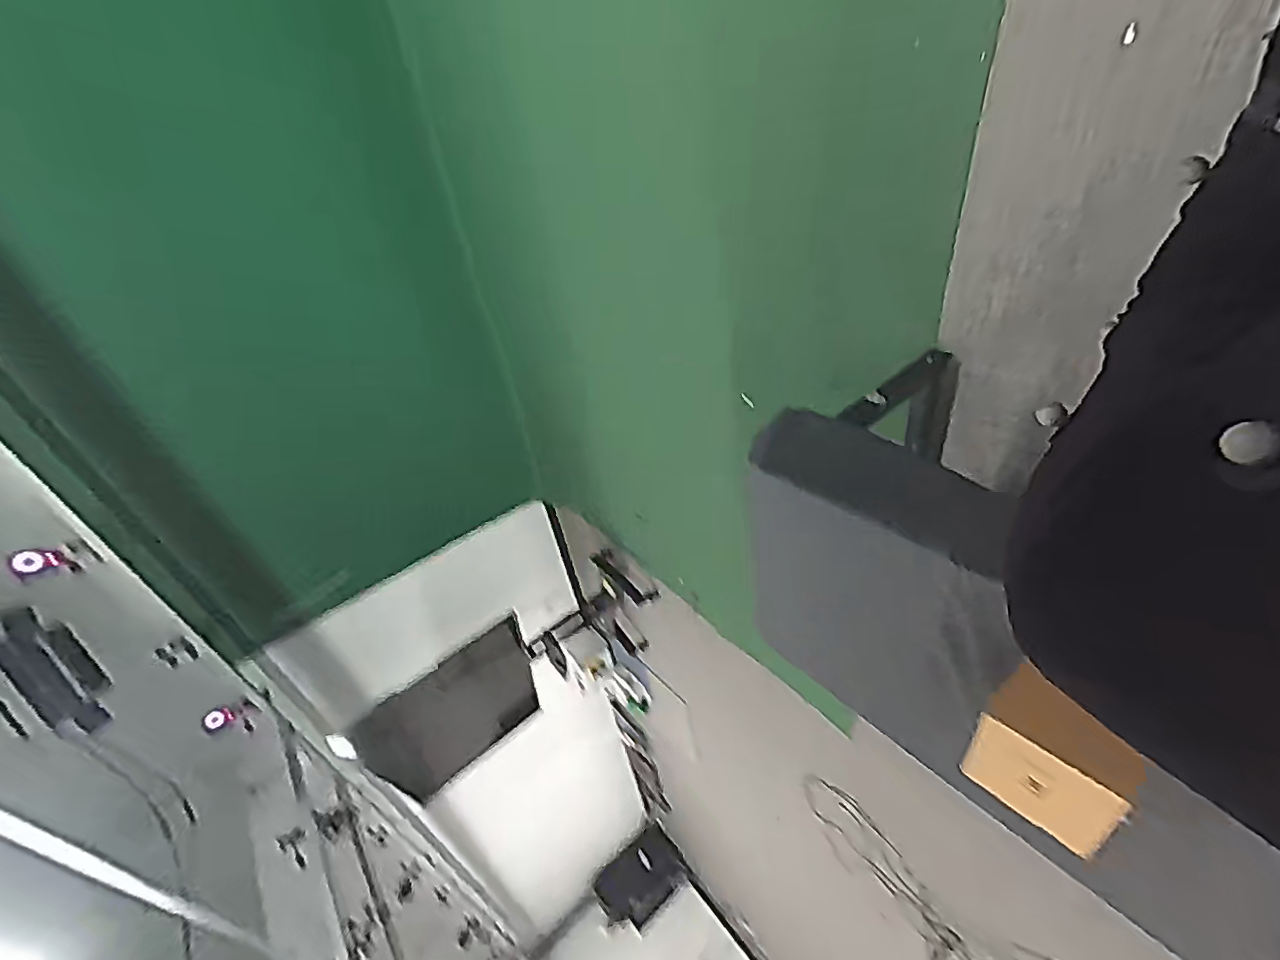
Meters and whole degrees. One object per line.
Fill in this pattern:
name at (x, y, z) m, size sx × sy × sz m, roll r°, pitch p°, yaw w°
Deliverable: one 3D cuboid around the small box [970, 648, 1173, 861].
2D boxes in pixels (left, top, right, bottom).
small box at (0.615, 0.385, 0.780) m, size 0.168 × 0.176 × 0.179 m, roll 29°, pitch 141°, yaw 44°
